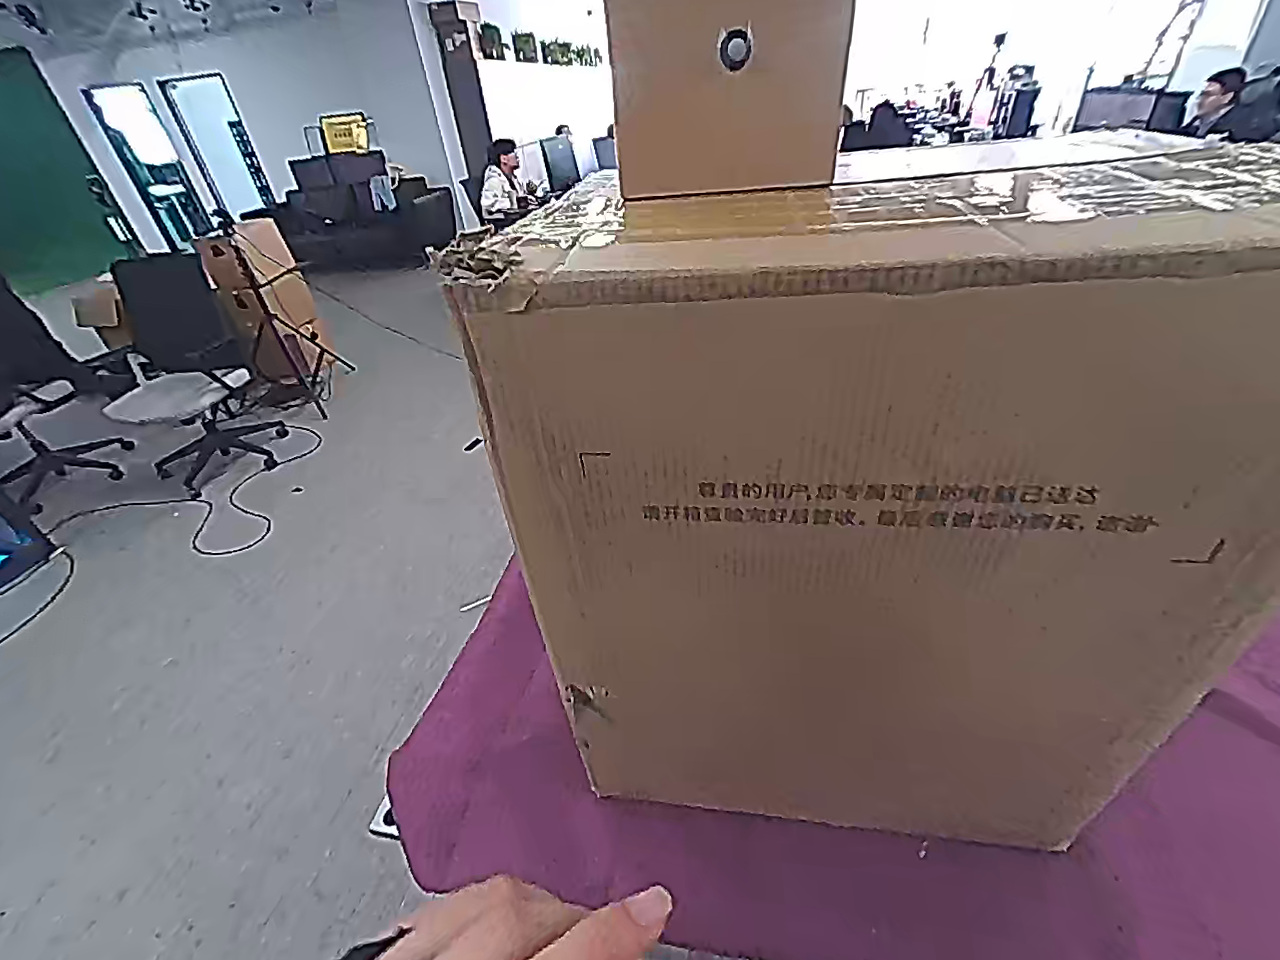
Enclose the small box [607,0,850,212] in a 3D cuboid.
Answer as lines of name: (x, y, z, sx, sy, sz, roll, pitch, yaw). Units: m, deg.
small box: (0.067, -0.333, 0.445, 0.168, 0.176, 0.179, 0, 36, 6)
